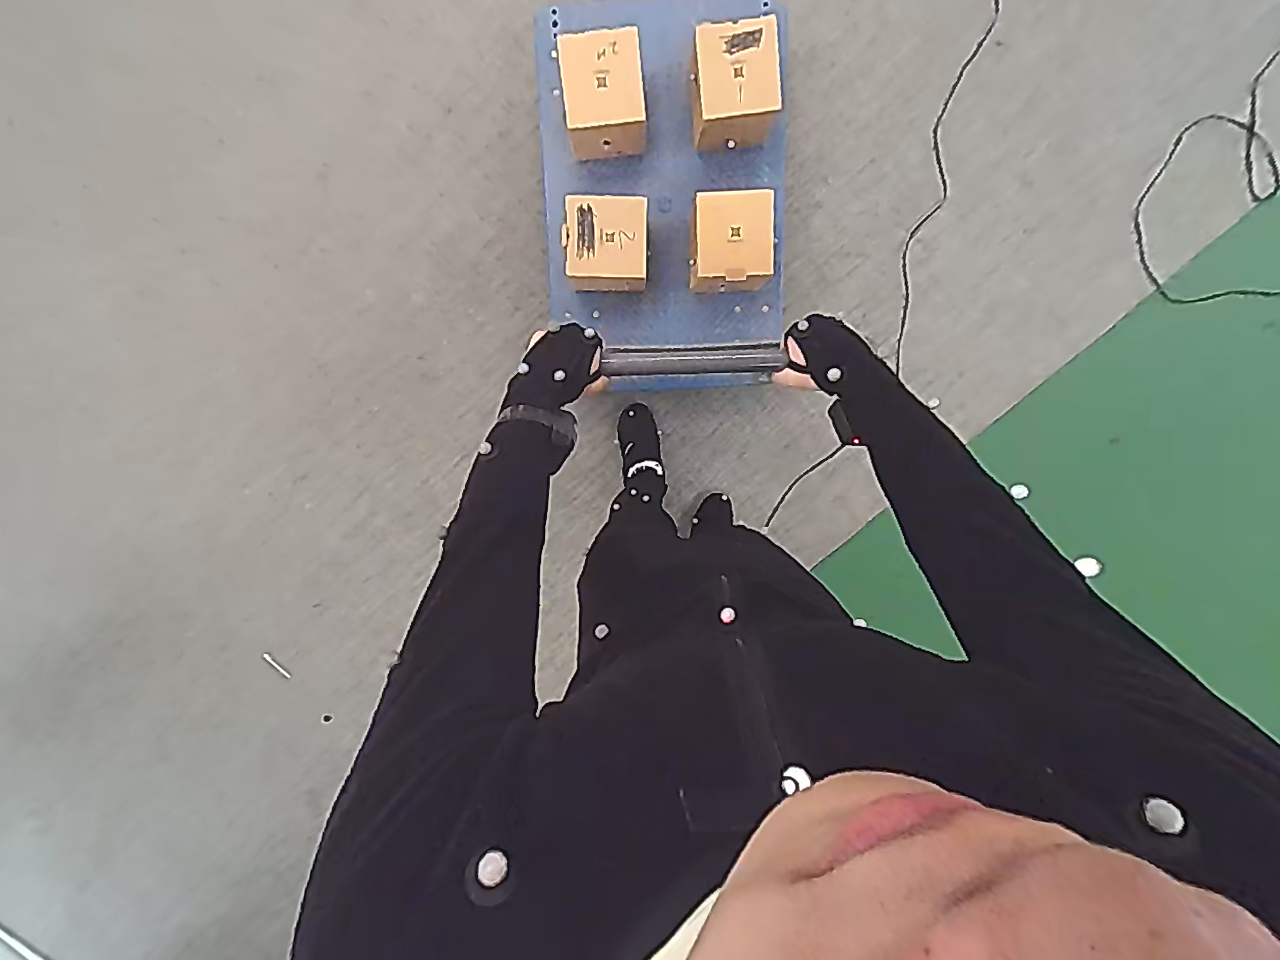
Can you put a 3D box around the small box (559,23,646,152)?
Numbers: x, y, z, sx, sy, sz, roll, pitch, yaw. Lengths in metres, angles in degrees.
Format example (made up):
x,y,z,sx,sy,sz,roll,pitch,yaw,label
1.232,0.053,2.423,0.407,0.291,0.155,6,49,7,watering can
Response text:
x,y,z,sx,sy,sz,roll,pitch,yaw,label
-0.075,-0.833,1.170,0.168,0.176,0.179,-6,101,0,small box

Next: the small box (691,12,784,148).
x,y,z,sx,sy,sz,roll,pitch,yaw,label
0.204,-0.853,1.168,0.168,0.176,0.179,-6,101,1,small box

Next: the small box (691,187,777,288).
x,y,z,sx,sy,sz,roll,pitch,yaw,label
0.207,-0.542,1.226,0.168,0.176,0.179,-2,101,0,small box
